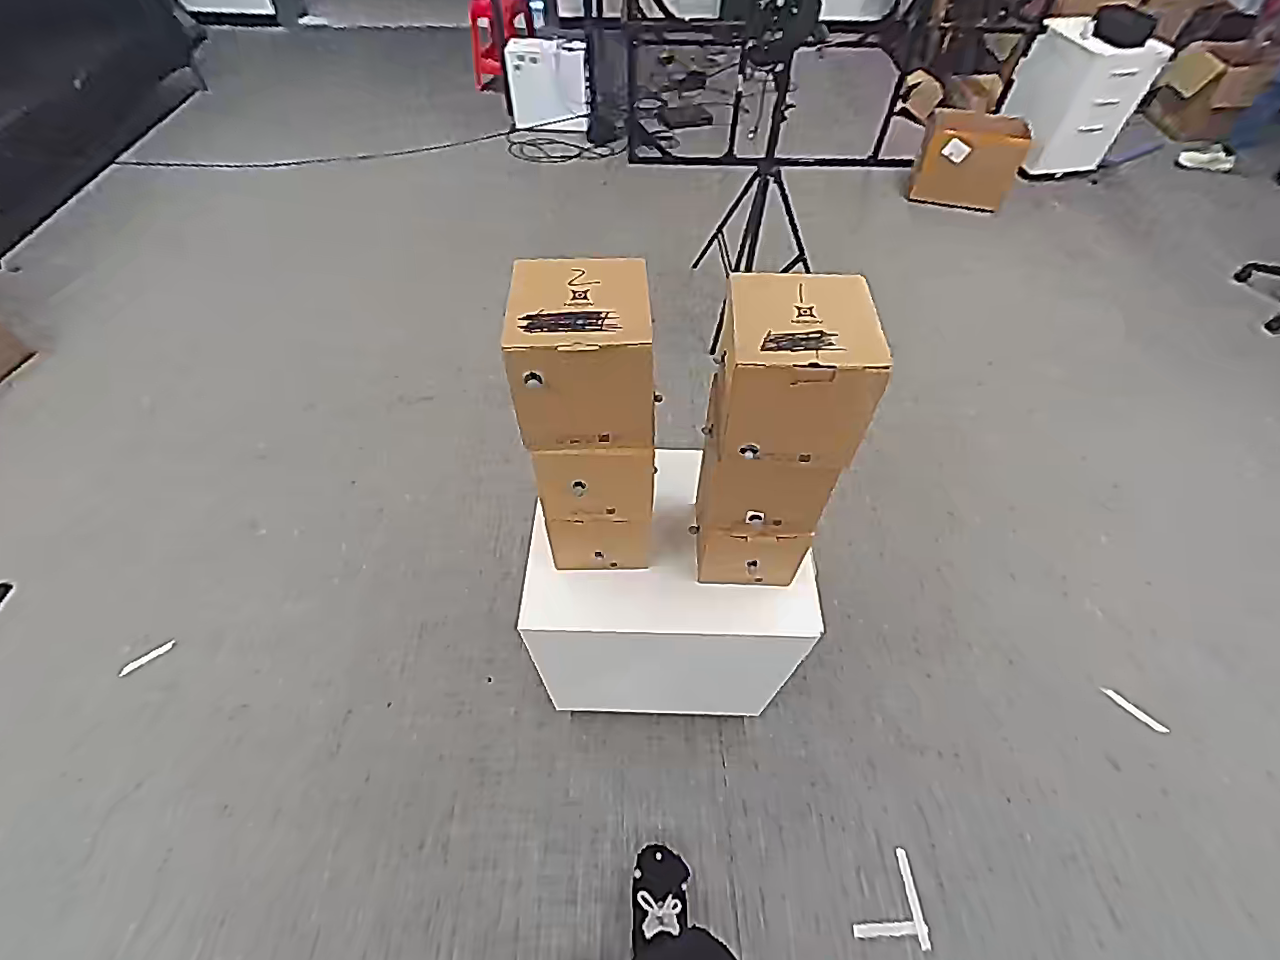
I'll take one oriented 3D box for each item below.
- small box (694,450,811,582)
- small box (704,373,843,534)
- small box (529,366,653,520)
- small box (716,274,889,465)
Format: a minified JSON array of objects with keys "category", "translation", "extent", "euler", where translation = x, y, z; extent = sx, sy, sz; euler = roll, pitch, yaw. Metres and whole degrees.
[{"category":"small box","translation":[0.185,0.065,0.936],"extent":[0.168,0.176,0.179],"euler":[2,55,0]},{"category":"small box","translation":[0.186,-0.038,0.811],"extent":[0.168,0.176,0.179],"euler":[1,54,2]},{"category":"small box","translation":[-0.064,-0.052,0.818],"extent":[0.168,0.176,0.179],"euler":[0,53,-1]},{"category":"small box","translation":[0.187,-0.134,0.677],"extent":[0.168,0.176,0.179],"euler":[2,52,3]}]
